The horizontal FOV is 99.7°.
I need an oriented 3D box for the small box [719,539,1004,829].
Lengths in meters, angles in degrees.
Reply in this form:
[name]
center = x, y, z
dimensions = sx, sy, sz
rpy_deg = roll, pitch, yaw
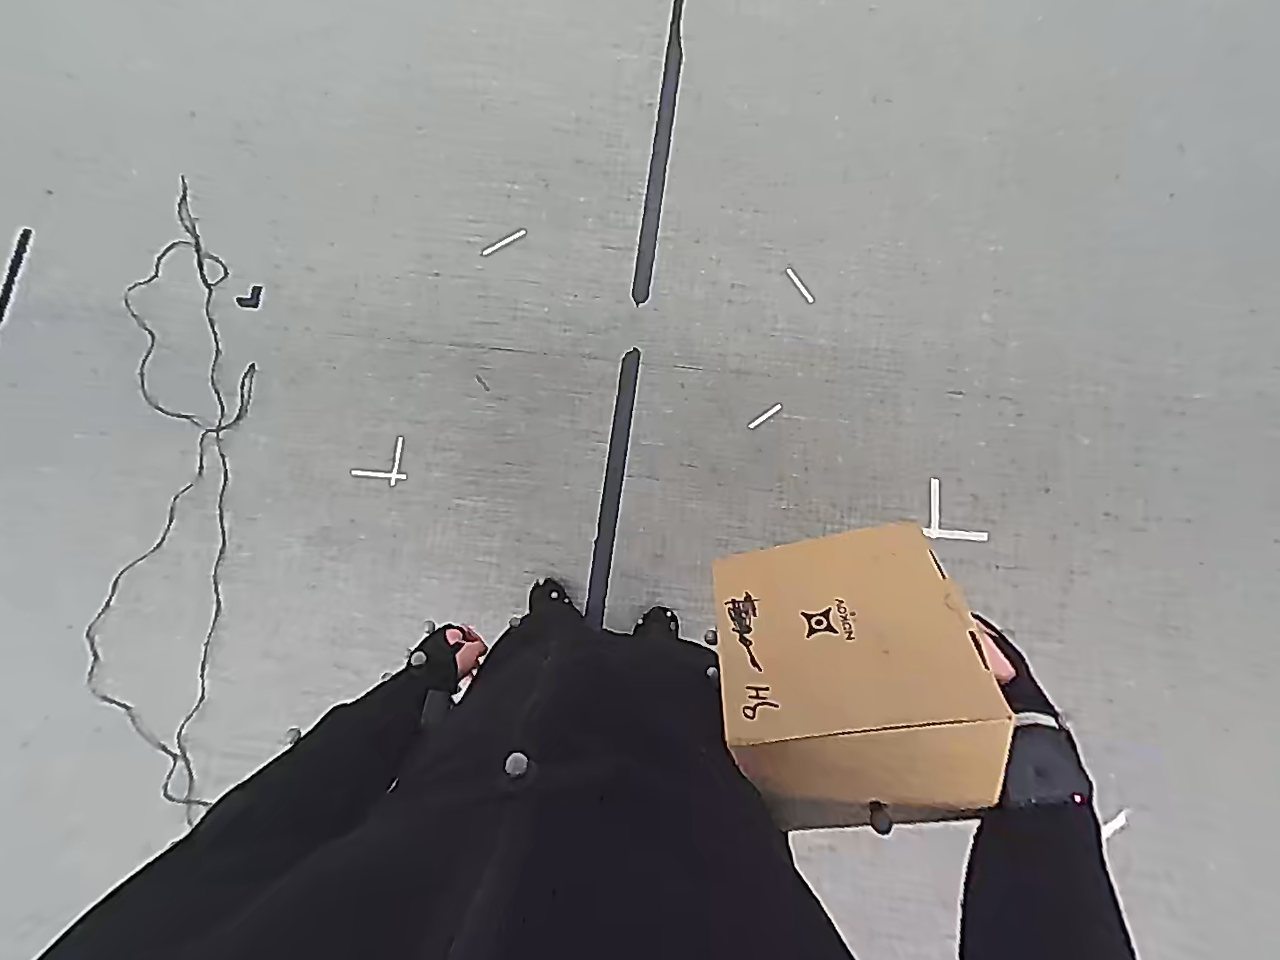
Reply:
[small box]
center = 0.175, 0.179, 0.467
dimensions = 0.179, 0.176, 0.168
rpy_deg = -13, 37, 13
